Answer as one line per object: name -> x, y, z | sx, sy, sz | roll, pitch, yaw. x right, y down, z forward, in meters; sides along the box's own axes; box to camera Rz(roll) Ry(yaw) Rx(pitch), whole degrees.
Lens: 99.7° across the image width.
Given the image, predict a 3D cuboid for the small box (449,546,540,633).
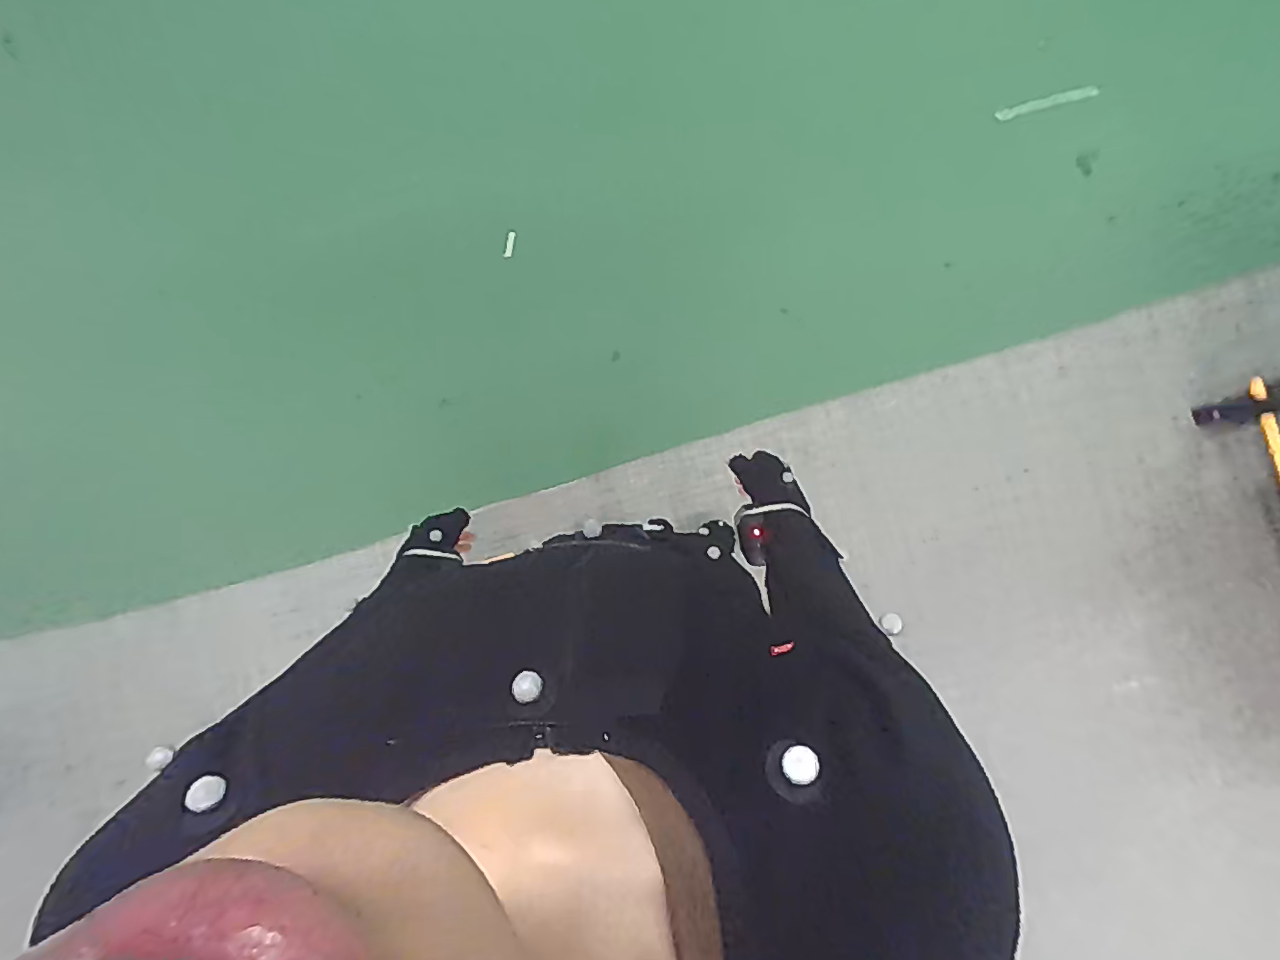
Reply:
small box -> -0.364, 0.273, 1.392 | 0.179, 0.176, 0.168 | -17, 87, -2
